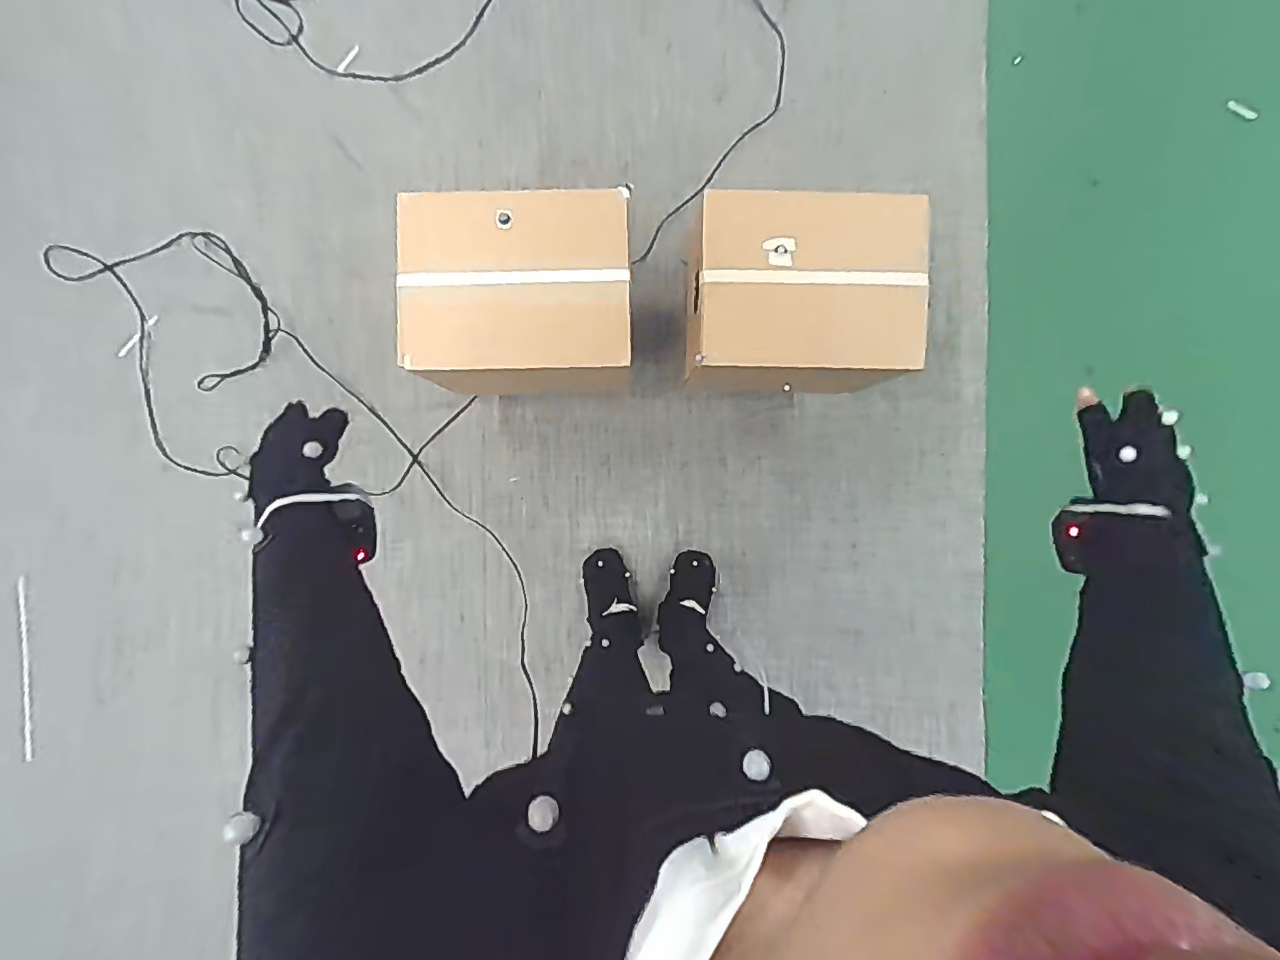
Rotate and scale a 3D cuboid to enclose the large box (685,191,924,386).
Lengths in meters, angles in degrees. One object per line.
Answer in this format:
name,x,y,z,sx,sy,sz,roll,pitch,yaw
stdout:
large box,0.310,-0.367,1.117,0.408,0.320,0.320,1,91,-1
